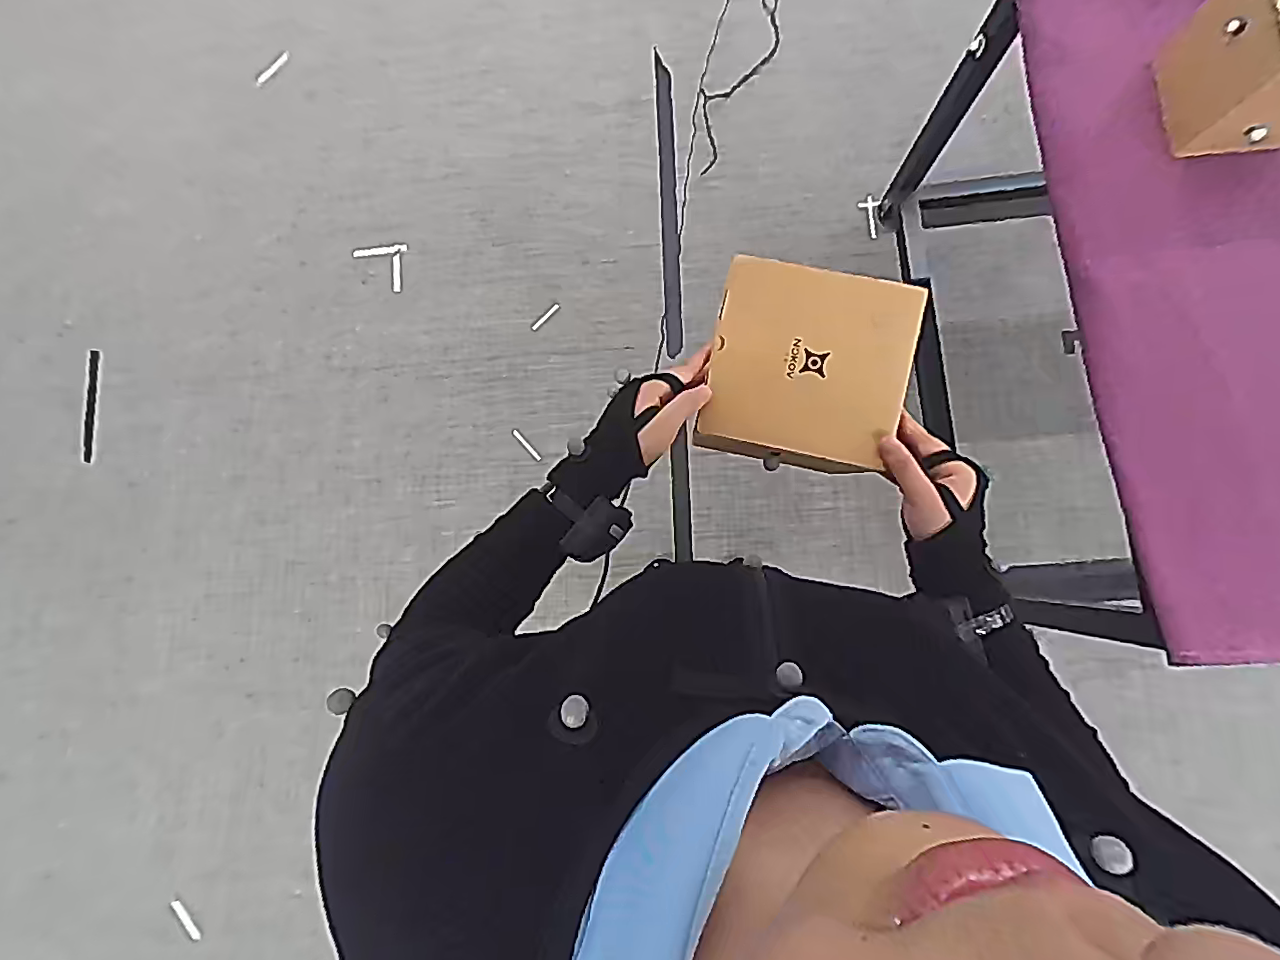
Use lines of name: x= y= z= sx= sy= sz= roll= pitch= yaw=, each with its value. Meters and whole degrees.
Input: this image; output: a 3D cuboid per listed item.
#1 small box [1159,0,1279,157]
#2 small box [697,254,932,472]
small box: x=0.888 y=-0.595 z=0.758 sx=0.168 sy=0.176 sz=0.179 roll=-3 pitch=83 yaw=3
small box: x=0.161 y=-0.107 z=0.559 sx=0.179 sy=0.176 sz=0.168 roll=12 pitch=91 yaw=6
